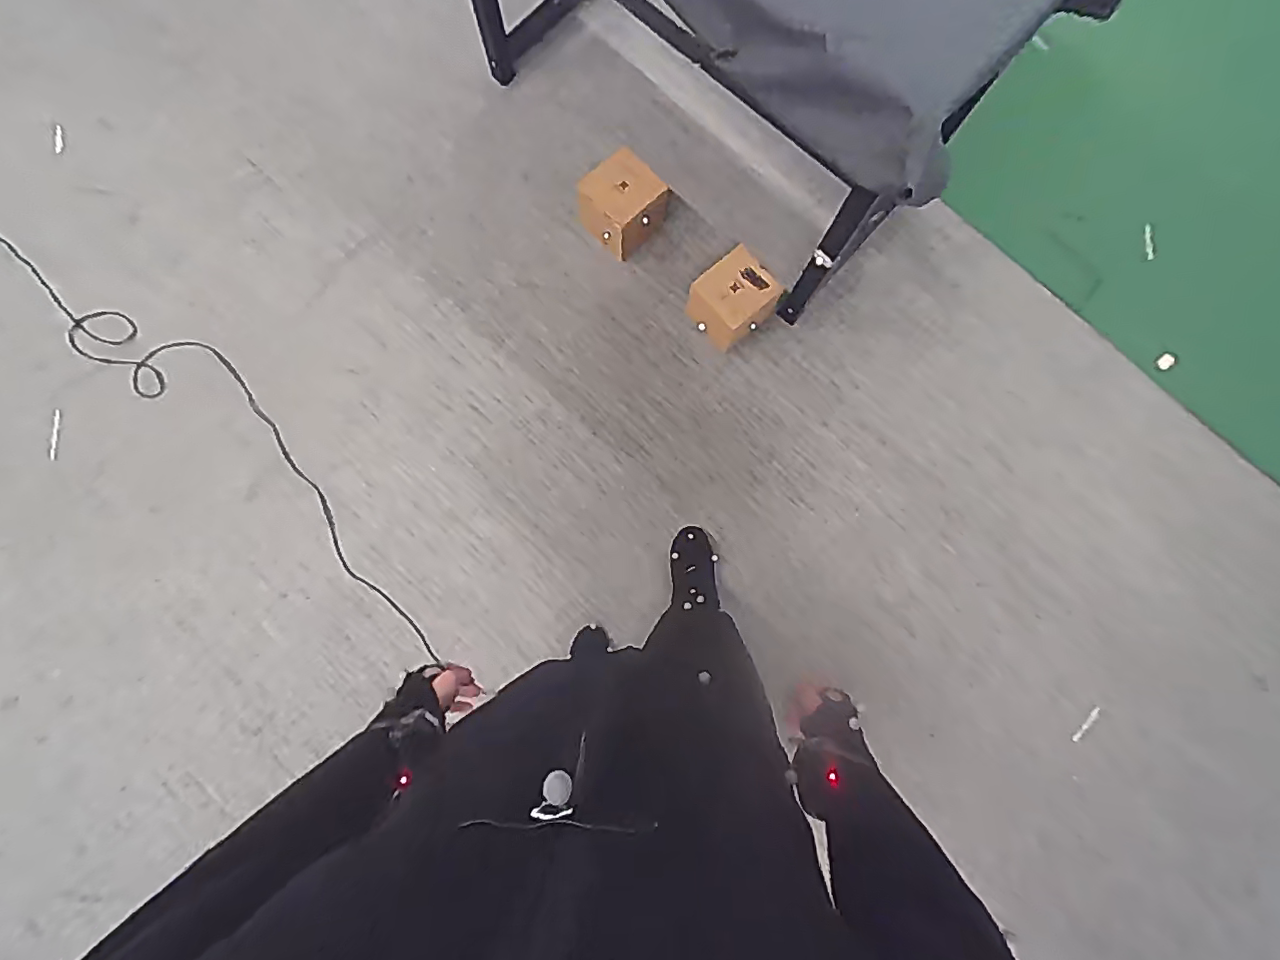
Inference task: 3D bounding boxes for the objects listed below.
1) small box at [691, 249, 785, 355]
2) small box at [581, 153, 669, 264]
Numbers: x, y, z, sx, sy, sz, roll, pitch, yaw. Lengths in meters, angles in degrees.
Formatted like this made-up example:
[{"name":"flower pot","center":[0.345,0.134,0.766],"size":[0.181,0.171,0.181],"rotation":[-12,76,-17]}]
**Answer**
[{"name":"small box","center":[0.253,-0.471,1.452],"size":[0.179,0.176,0.168],"rotation":[-40,83,-5]},{"name":"small box","center":[-0.040,-0.743,1.499],"size":[0.179,0.176,0.168],"rotation":[-44,85,-8]}]
